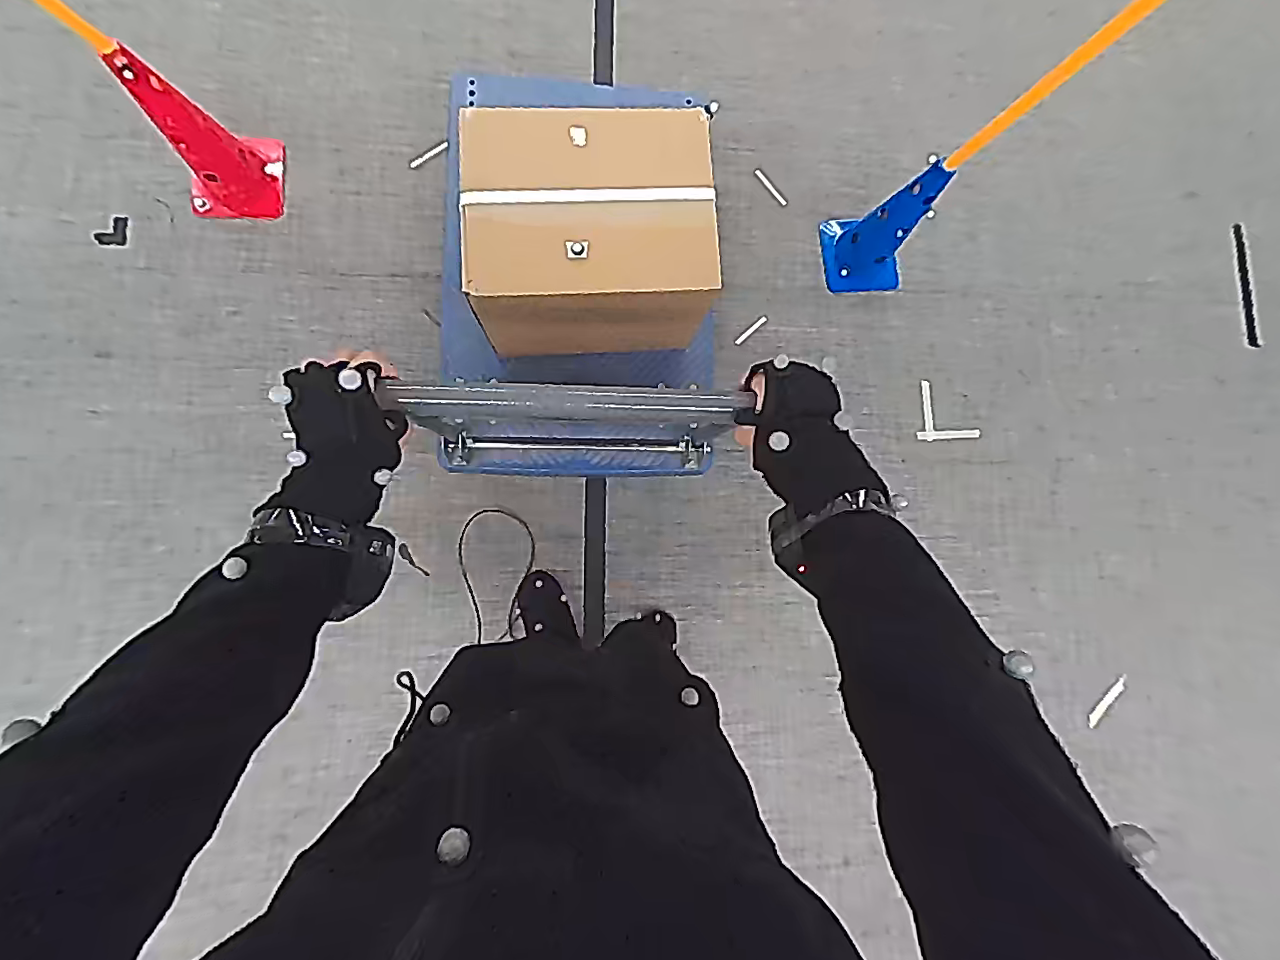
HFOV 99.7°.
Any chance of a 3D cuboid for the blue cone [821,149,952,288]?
[{"bbox_3d":[0.597,-0.619,1.269,0.193,0.380,0.192,-4,84,-6],"label":"blue cone"}]
